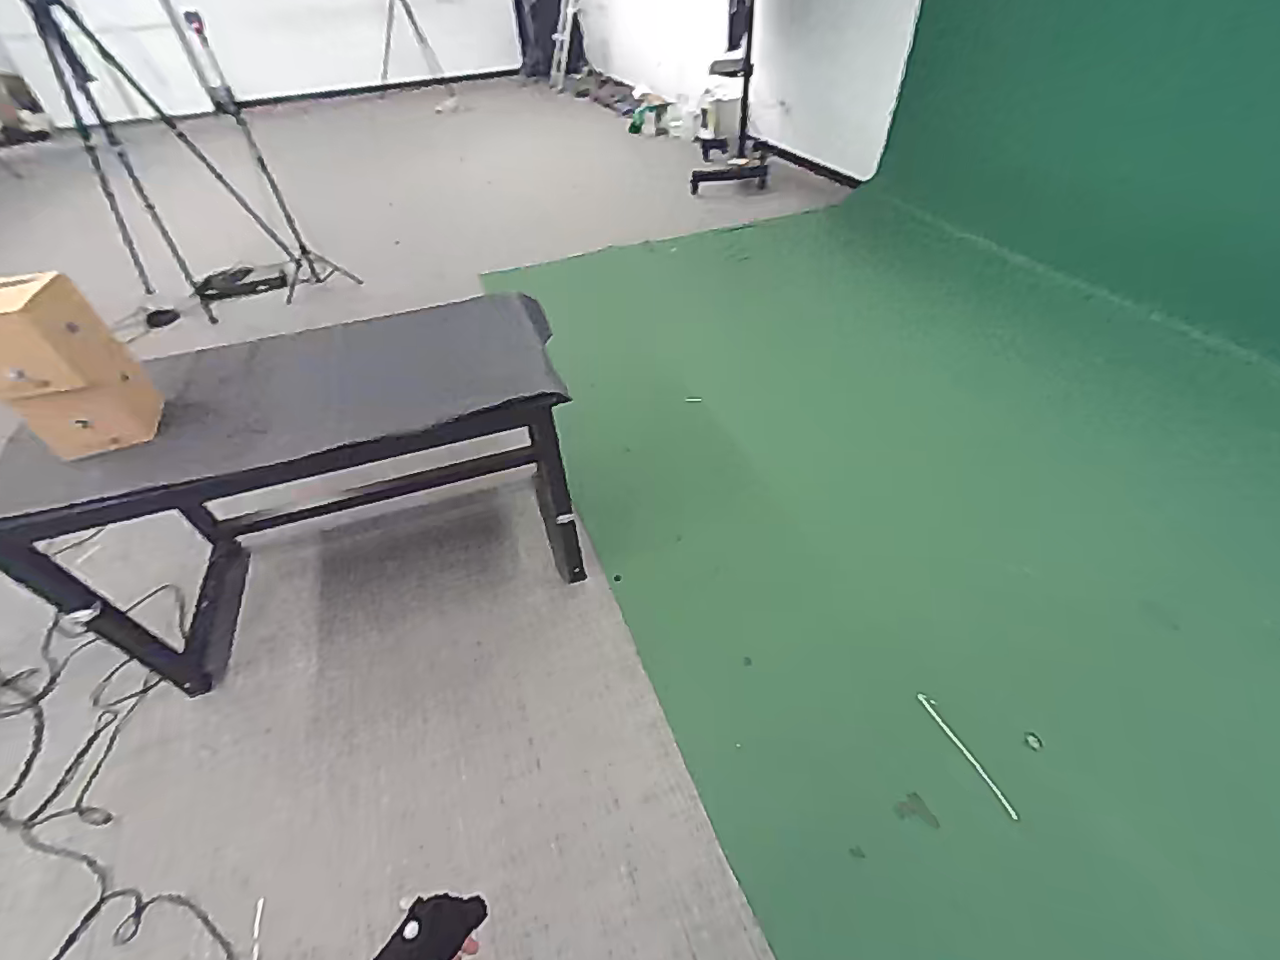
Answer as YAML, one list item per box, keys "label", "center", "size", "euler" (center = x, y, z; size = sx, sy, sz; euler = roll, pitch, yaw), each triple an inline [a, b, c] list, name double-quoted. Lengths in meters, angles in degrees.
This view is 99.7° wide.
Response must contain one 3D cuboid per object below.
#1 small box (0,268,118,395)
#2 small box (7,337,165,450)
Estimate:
- label: "small box"
  center: [-1.190, -0.291, 1.058]
  size: [0.168, 0.176, 0.179]
  euler: [-13, 46, -11]
- label: "small box"
  center: [-1.192, -0.184, 1.184]
  size: [0.168, 0.176, 0.179]
  euler: [-18, 46, -17]
